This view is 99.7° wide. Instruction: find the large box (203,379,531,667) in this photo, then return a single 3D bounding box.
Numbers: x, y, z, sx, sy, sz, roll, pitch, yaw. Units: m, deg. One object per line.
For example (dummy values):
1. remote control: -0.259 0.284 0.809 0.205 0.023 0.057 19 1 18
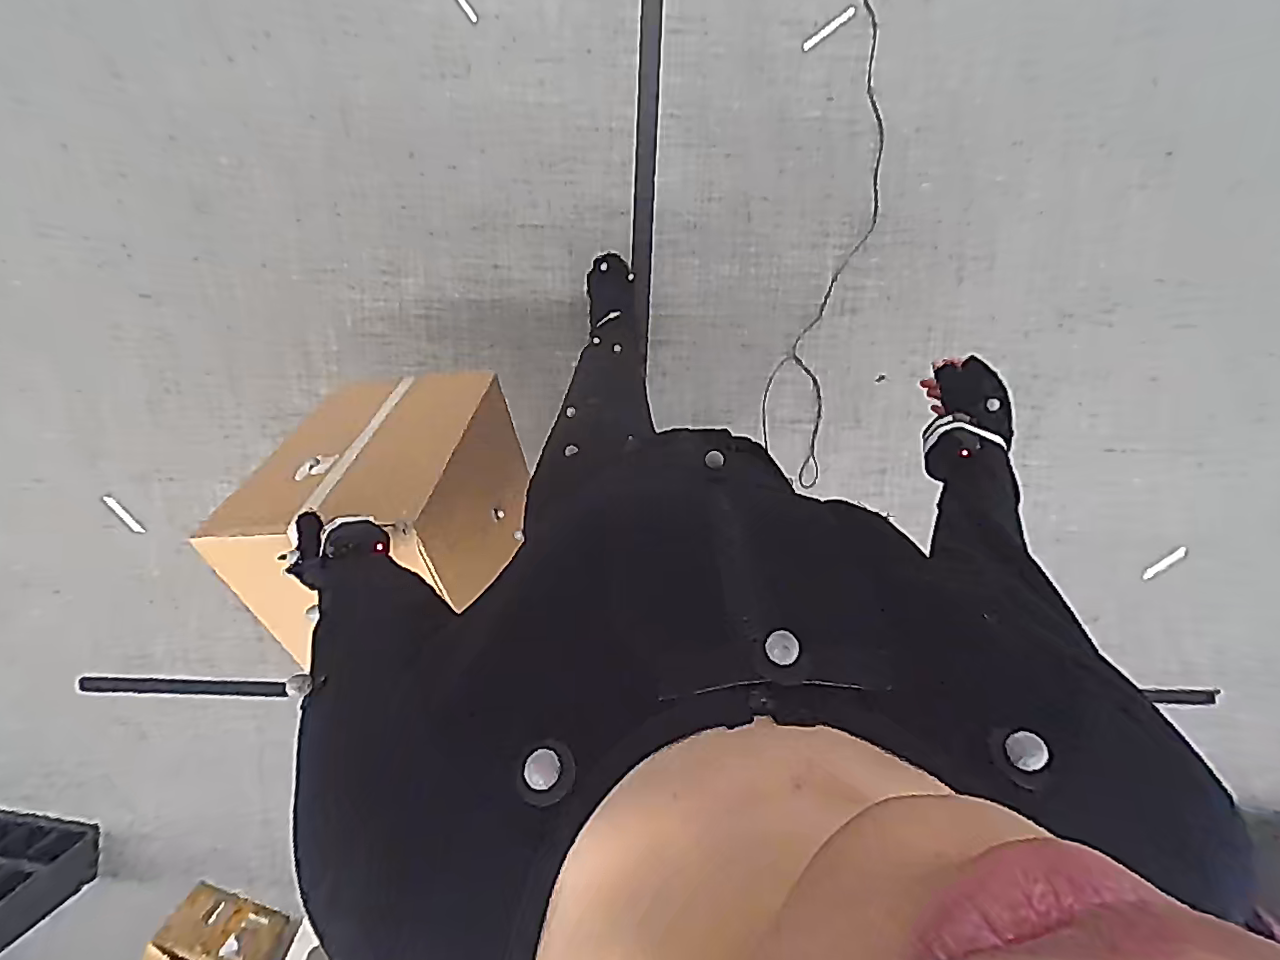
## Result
1. large box: -0.407 0.064 0.946 0.320 0.408 0.320 -5 128 8
